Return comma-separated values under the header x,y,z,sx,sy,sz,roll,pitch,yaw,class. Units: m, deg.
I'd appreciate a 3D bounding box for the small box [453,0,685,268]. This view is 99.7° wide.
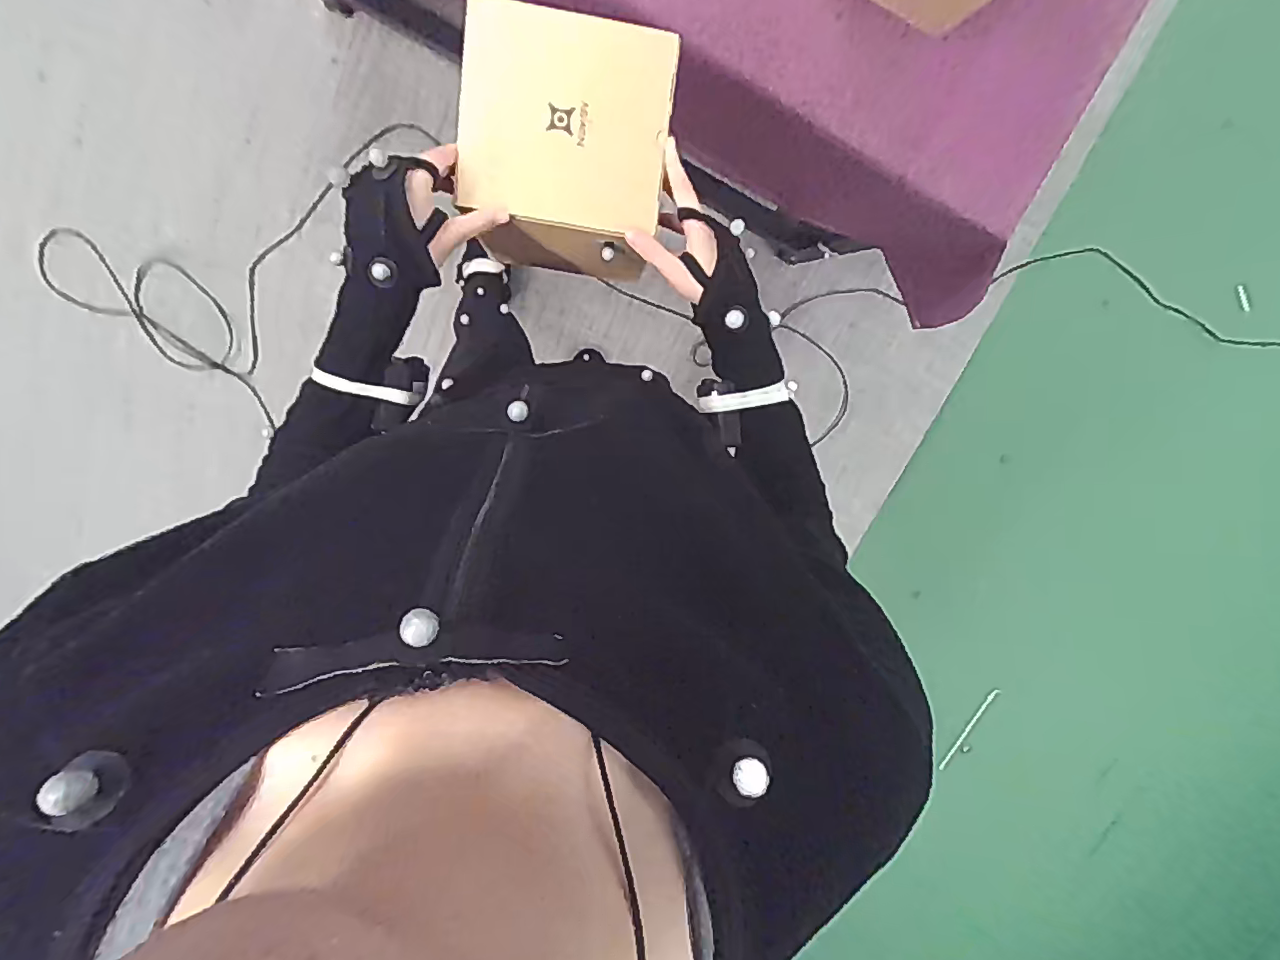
x,y,z,sx,sy,sz,roll,pitch,yaw,class
-0.066,-0.321,0.526,0.179,0.176,0.168,7,96,-7,small box

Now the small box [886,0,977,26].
x,y,z,sx,sy,sz,roll,pitch,yaw,class
0.310,-0.594,0.518,0.179,0.176,0.168,20,104,-12,small box
